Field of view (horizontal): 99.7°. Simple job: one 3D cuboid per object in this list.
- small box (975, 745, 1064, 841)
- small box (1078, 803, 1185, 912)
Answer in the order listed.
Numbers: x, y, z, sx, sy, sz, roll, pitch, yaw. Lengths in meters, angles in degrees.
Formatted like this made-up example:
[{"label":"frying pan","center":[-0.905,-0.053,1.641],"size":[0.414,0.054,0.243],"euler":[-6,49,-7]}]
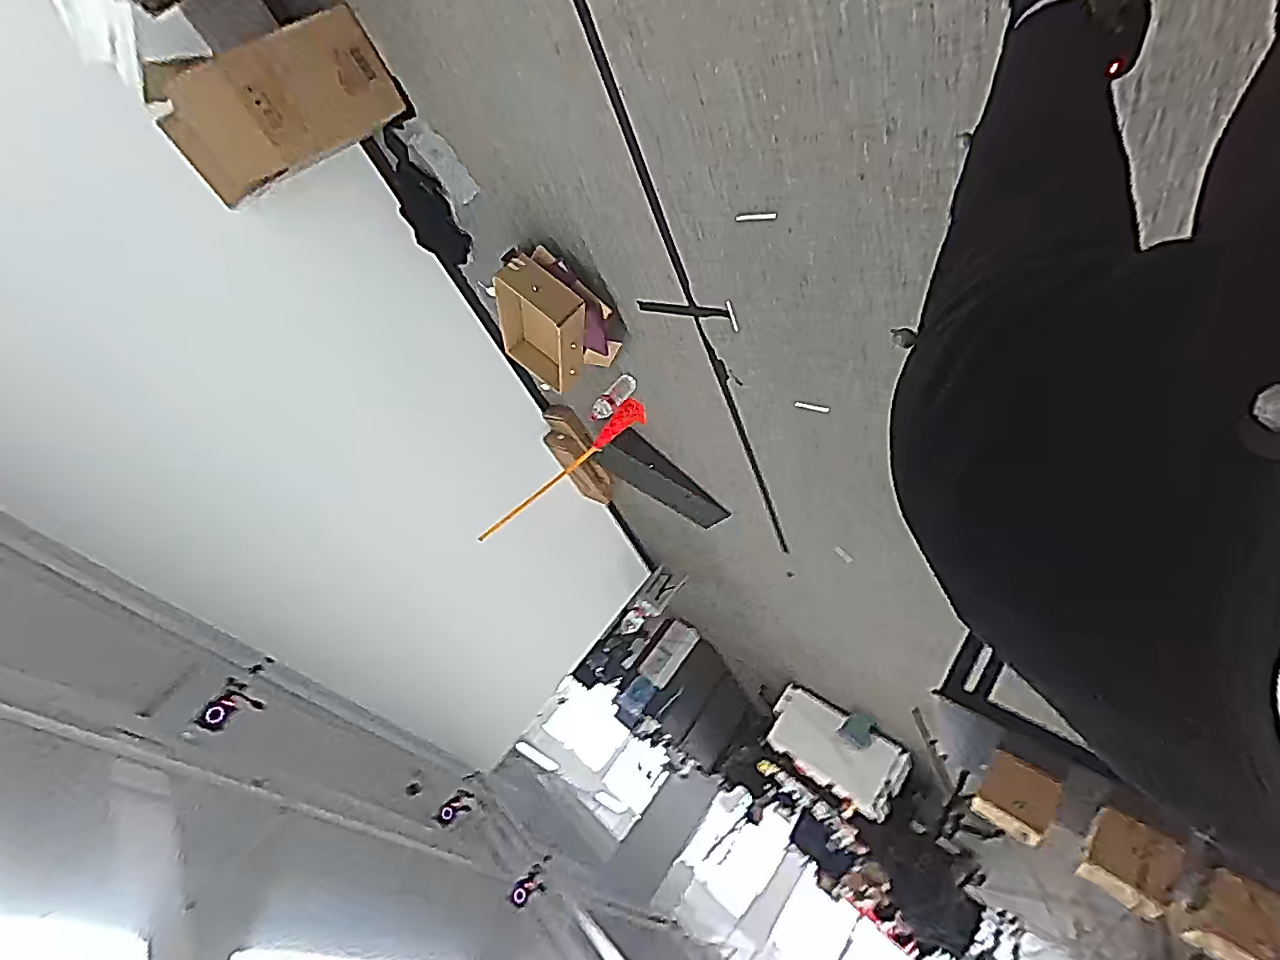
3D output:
[{"label":"small box","center":[1.154,0.949,1.645],"size":[0.179,0.176,0.168],"euler":[24,154,42]},{"label":"small box","center":[1.327,1.014,1.462],"size":[0.168,0.176,0.179],"euler":[23,153,42]}]
